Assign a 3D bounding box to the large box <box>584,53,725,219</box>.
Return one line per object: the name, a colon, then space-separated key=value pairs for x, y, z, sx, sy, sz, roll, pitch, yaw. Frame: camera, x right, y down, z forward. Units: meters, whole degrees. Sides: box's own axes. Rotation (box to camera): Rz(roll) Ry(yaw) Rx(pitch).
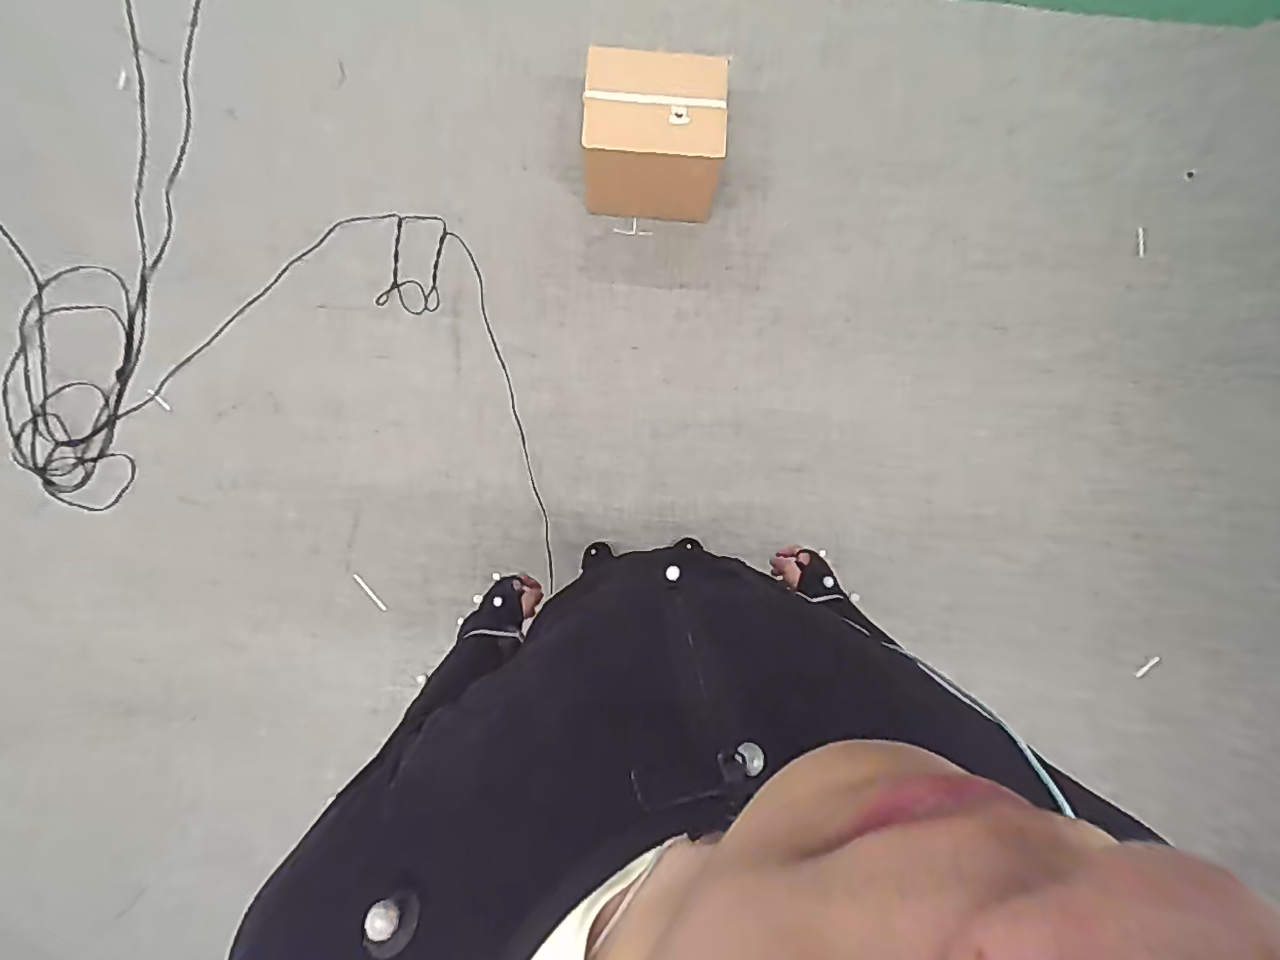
large box: x=0.035 y=-1.045 z=1.676 sx=0.408 sy=0.320 sz=0.320 roll=2 pitch=83 yaw=-2
